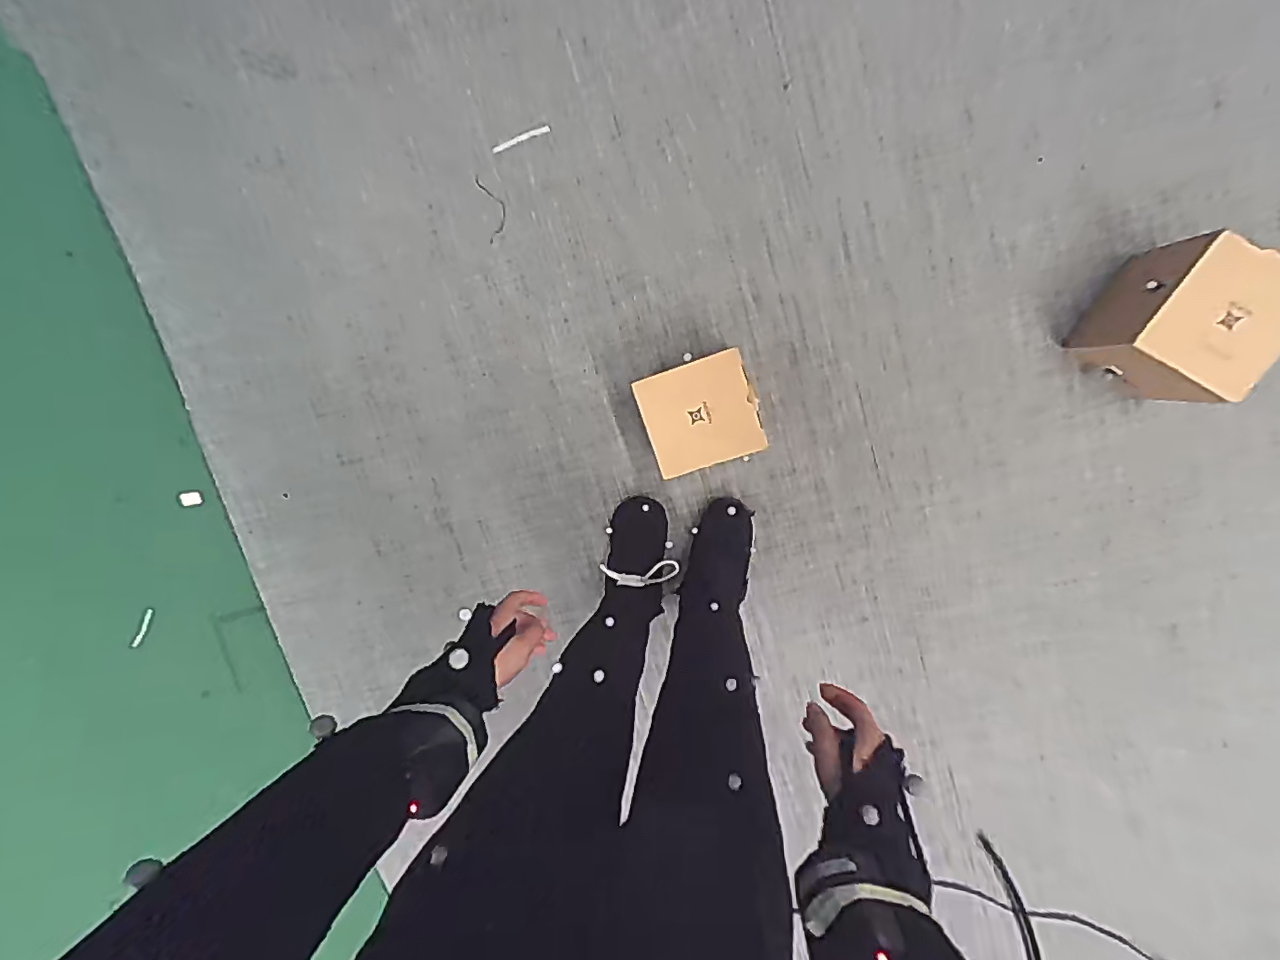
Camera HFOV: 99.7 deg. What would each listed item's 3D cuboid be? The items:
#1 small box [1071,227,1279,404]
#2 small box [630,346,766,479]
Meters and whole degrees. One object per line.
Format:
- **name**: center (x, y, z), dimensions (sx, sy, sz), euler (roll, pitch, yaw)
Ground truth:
- **small box**: center (0.798, -0.230, 0.792), dimensions (0.168, 0.176, 0.179), euler (31, 104, 3)
- **small box**: center (0.101, -0.114, 0.912), dimensions (0.179, 0.176, 0.168), euler (-18, 98, 10)
